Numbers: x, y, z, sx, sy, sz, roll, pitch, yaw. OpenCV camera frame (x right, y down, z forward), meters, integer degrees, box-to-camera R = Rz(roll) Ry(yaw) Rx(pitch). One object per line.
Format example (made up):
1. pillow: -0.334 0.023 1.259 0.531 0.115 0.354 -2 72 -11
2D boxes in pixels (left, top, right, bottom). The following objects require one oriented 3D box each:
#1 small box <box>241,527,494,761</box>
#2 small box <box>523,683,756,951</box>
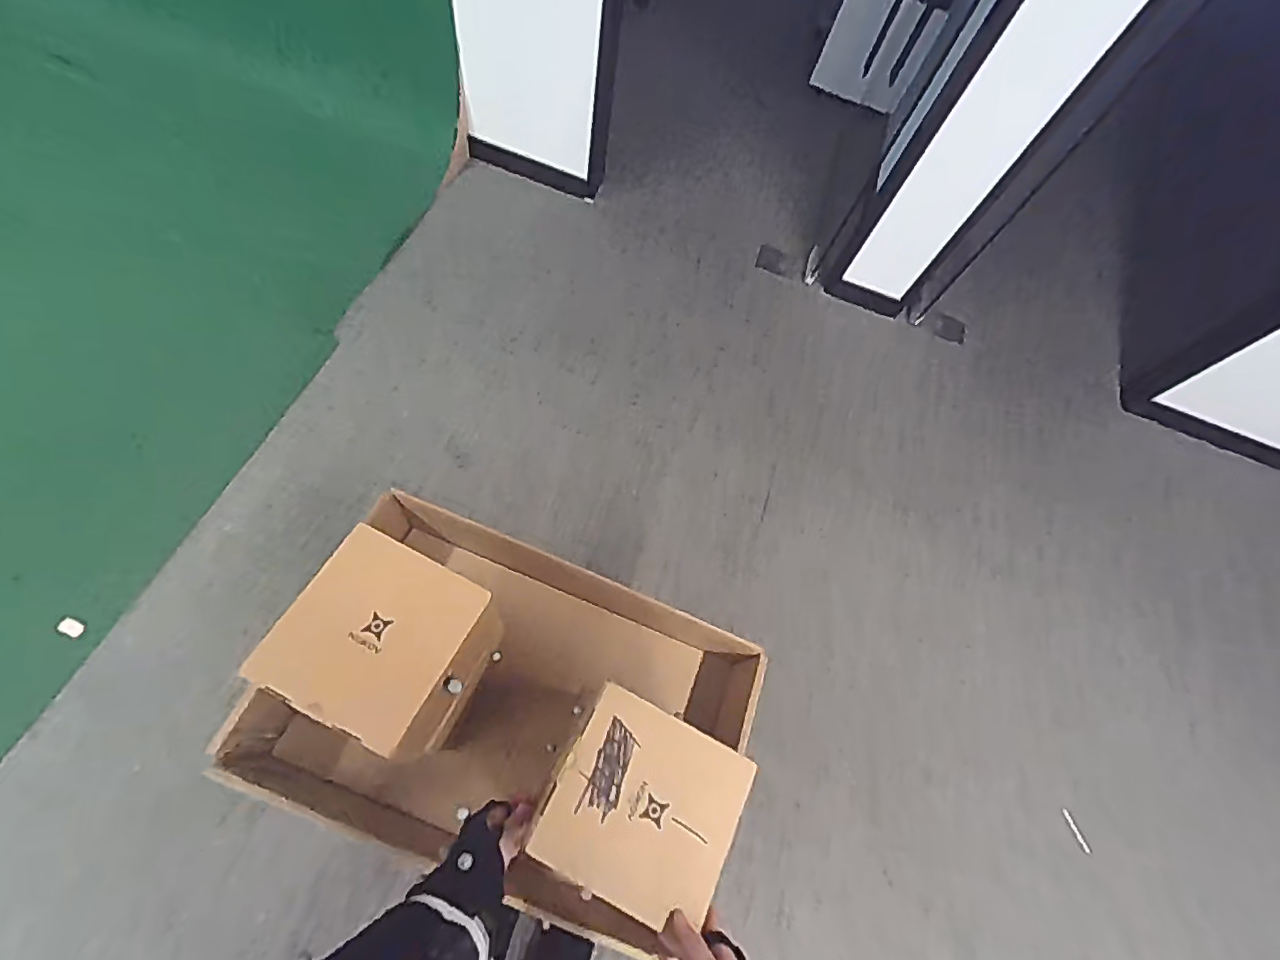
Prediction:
1. small box: -0.280 0.187 0.608 0.168 0.176 0.179 28 63 3
2. small box: -0.008 0.345 0.583 0.179 0.176 0.168 29 63 3
